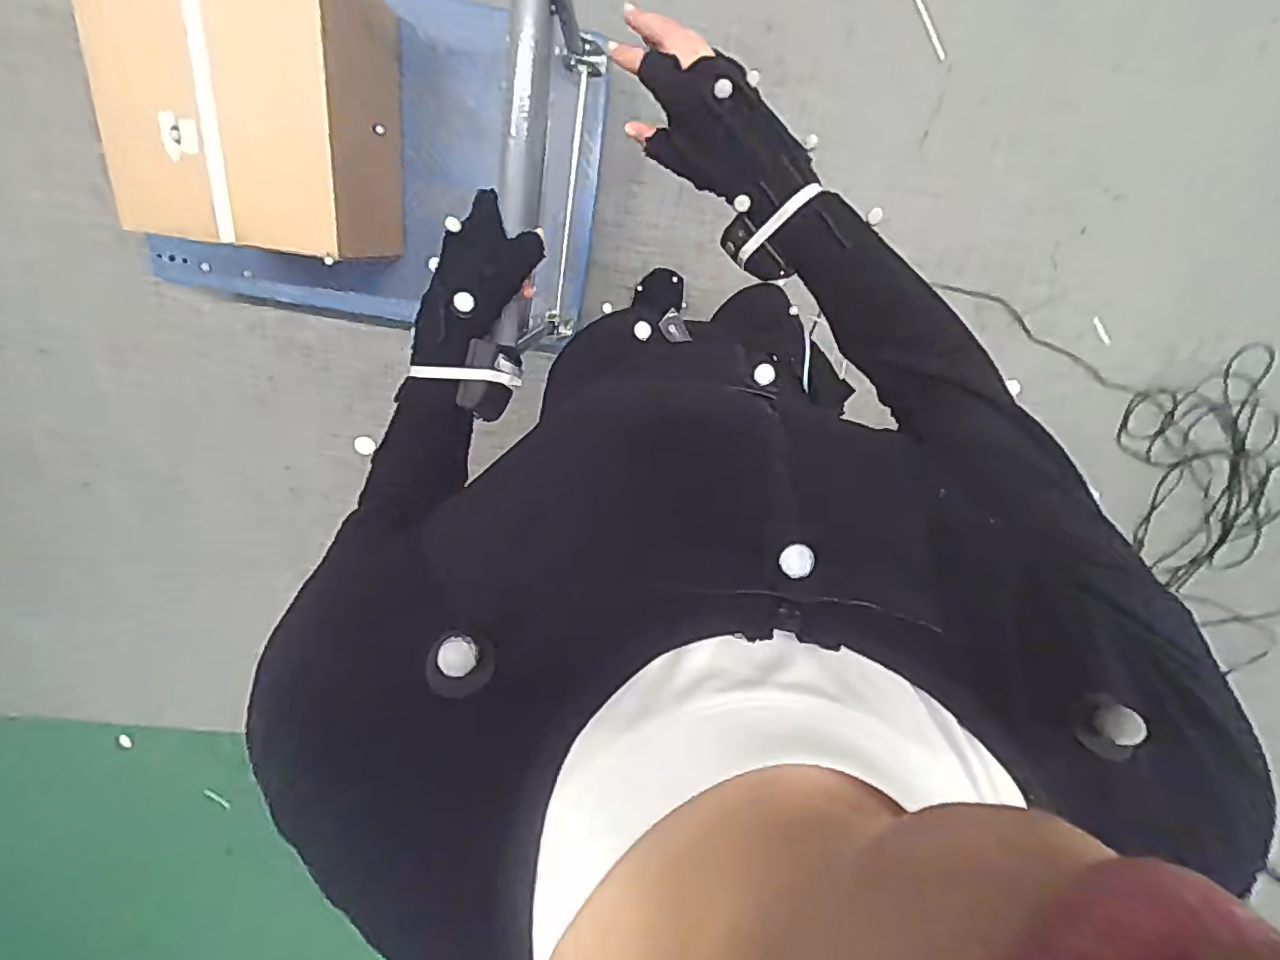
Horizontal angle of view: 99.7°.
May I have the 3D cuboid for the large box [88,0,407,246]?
[{"bbox_3d":[-0.587,-0.620,0.879,0.320,0.320,0.408,6,114,-6],"label":"large box"}]
